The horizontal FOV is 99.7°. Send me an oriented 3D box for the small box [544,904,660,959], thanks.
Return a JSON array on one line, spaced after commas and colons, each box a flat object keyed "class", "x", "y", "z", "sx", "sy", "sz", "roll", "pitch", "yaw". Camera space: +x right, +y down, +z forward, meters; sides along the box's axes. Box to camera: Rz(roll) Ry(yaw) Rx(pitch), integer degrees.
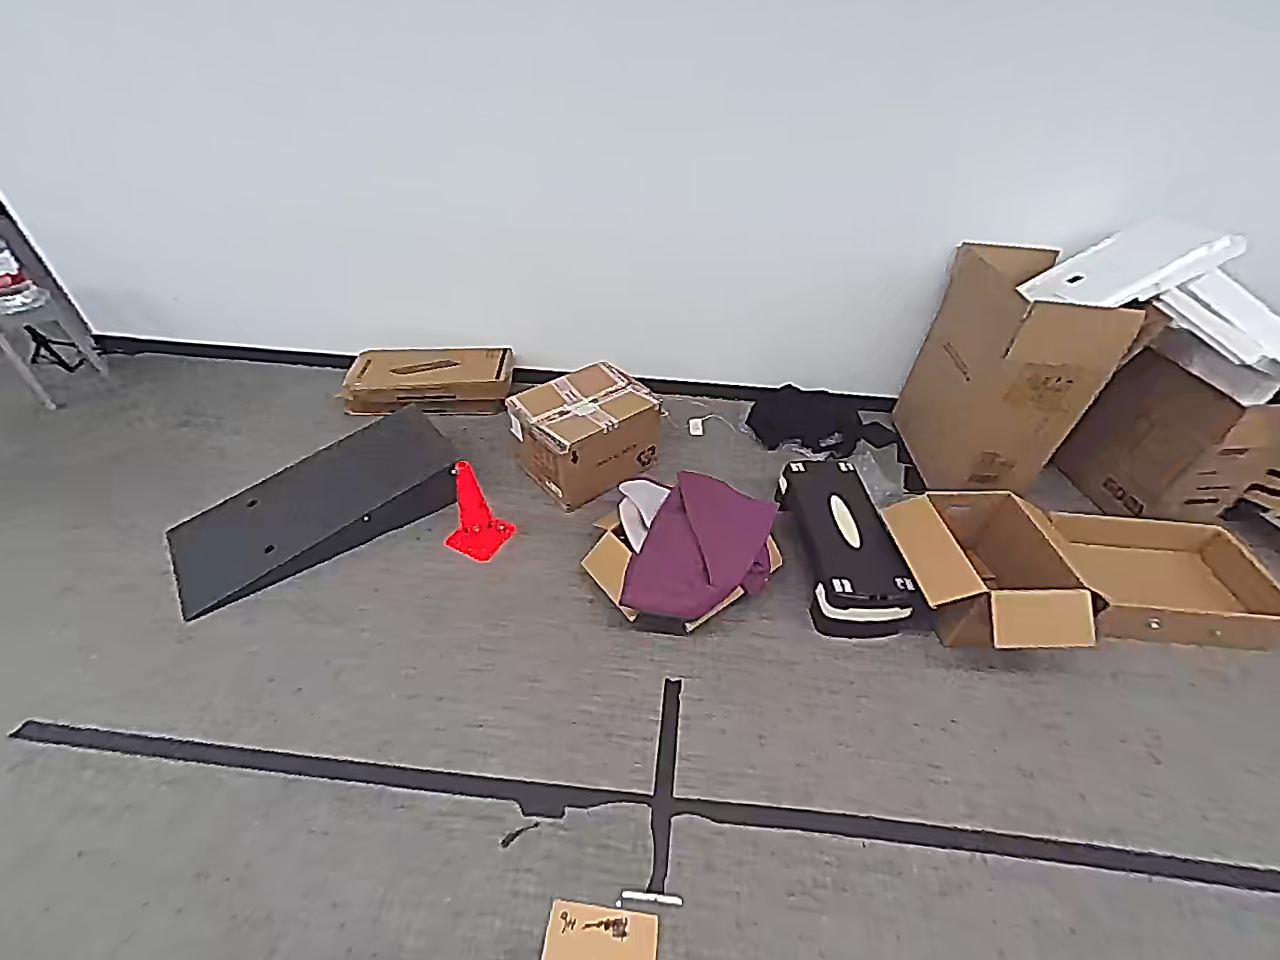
[{"class": "small box", "x": -0.060, "y": 0.770, "z": 0.807, "sx": 0.168, "sy": 0.176, "sz": 0.179, "roll": 5, "pitch": 42, "yaw": 5}]
